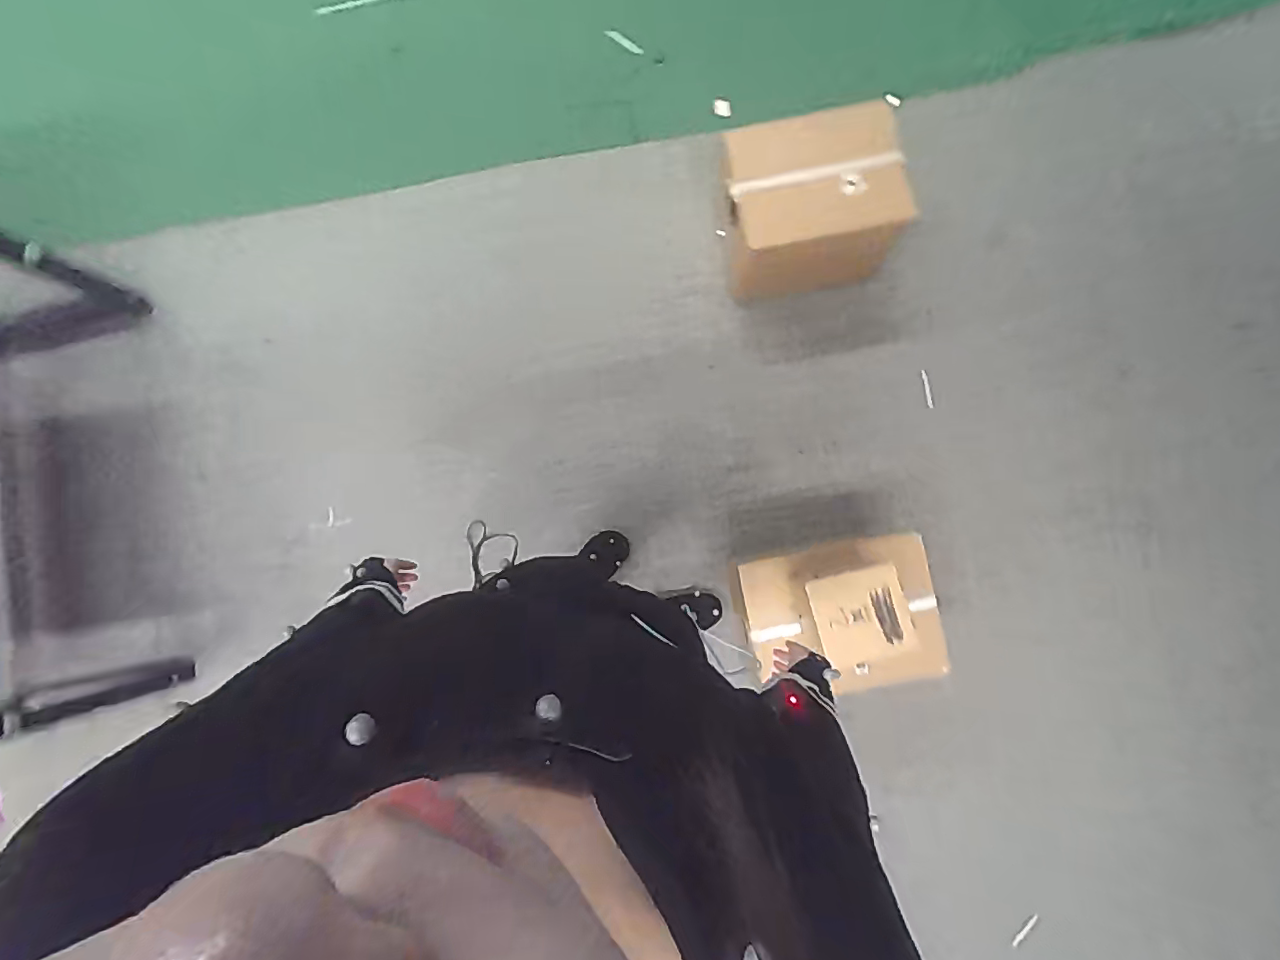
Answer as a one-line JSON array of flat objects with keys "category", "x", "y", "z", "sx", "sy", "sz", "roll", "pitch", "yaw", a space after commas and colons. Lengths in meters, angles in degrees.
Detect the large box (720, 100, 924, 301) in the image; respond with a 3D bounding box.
[{"category": "large box", "x": 0.448, "y": -0.711, "z": 1.426, "sx": 0.408, "sy": 0.320, "sz": 0.320, "roll": -9, "pitch": 84, "yaw": 1}]
